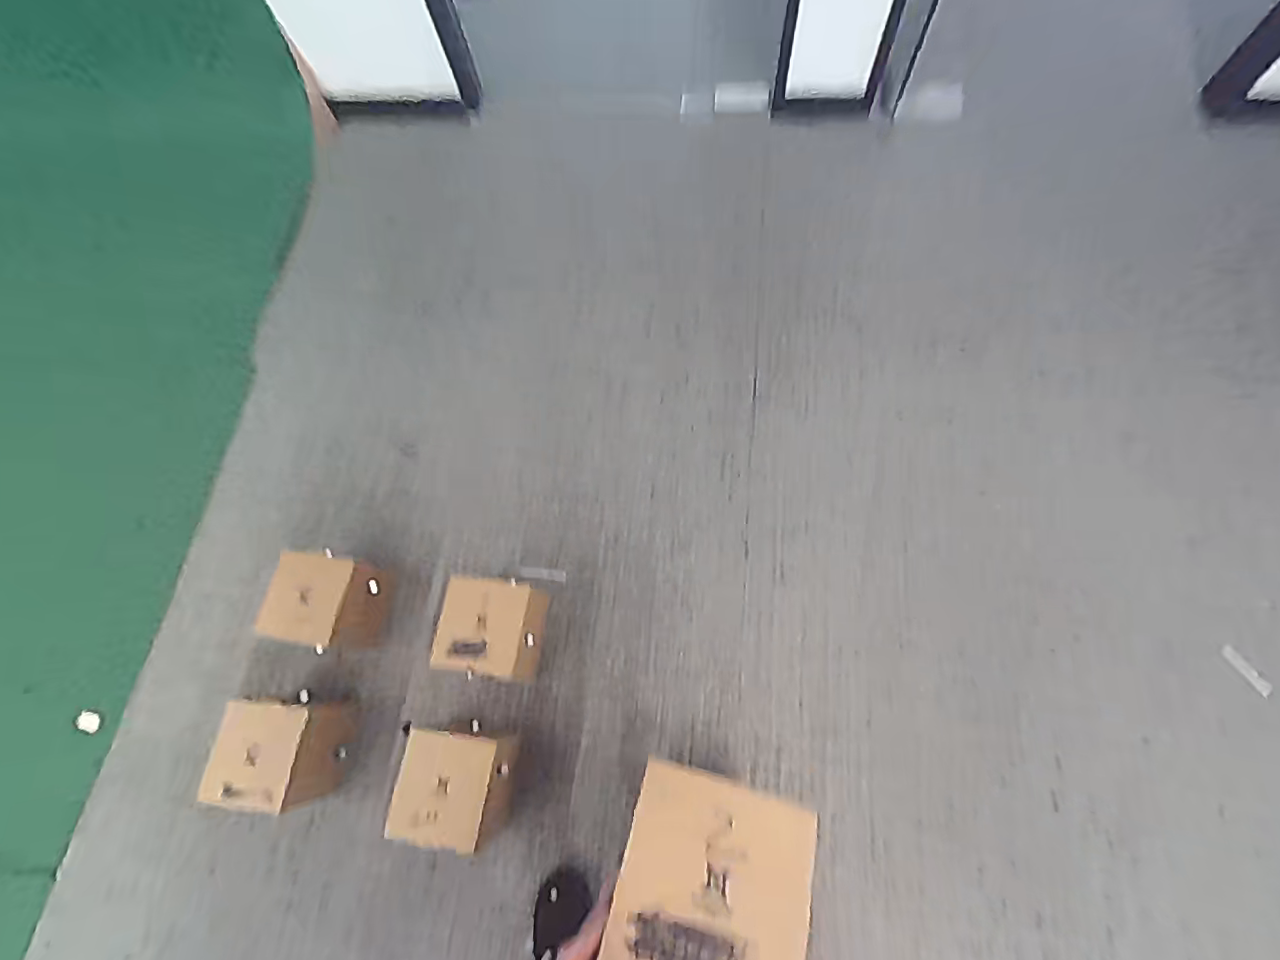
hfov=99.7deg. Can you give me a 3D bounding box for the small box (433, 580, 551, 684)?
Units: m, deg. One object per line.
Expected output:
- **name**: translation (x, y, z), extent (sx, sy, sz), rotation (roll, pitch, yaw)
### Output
- **small box**: translation (-0.293, 0.316, 1.114), extent (0.168, 0.176, 0.179), rotation (6, 70, 8)

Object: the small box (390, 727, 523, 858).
- **small box**: translation (-0.332, 0.576, 1.023), extent (0.168, 0.176, 0.179), rotation (6, 71, 8)

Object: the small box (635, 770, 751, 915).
- **small box**: translation (0.095, 0.629, 0.963), extent (0.179, 0.176, 0.168), rotation (6, 70, 7)

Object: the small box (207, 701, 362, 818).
- **small box**: translation (-0.686, 0.541, 1.070), extent (0.168, 0.176, 0.179), rotation (4, 69, 8)
